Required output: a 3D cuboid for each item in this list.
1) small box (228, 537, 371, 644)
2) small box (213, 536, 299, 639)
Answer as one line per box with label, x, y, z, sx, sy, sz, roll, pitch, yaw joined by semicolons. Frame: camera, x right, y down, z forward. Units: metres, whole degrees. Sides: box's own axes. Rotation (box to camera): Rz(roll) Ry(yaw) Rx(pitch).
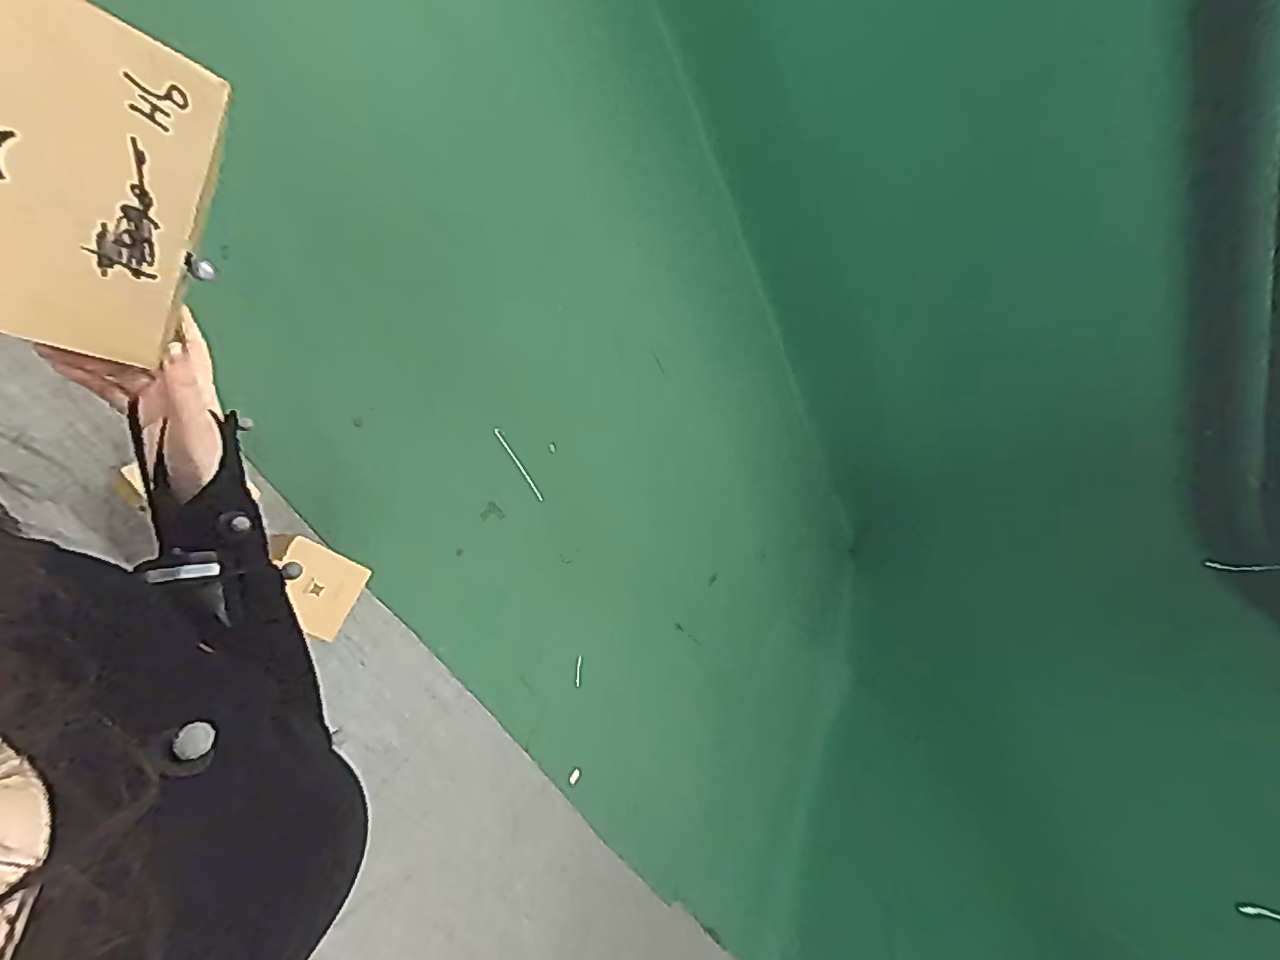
small box;-0.726;0.235;1.153;0.179;0.176;0.168;43;55;-39
small box;-0.843;0.250;1.265;0.179;0.176;0.168;56;47;-31
